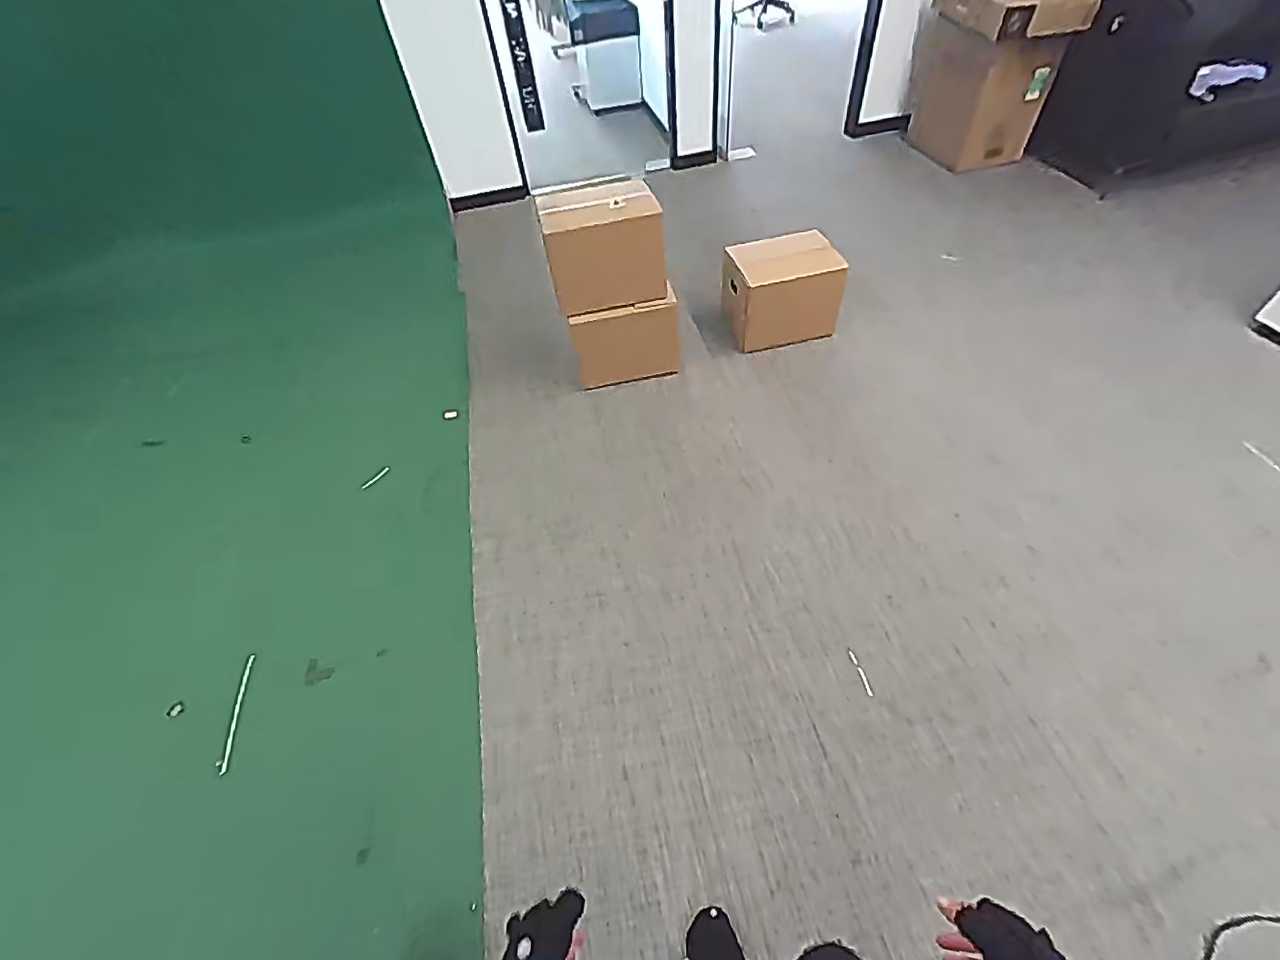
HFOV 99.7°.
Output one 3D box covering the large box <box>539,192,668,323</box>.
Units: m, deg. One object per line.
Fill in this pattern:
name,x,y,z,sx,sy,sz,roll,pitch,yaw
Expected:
large box,-0.131,-0.812,1.975,0.408,0.320,0.320,-12,47,-4
